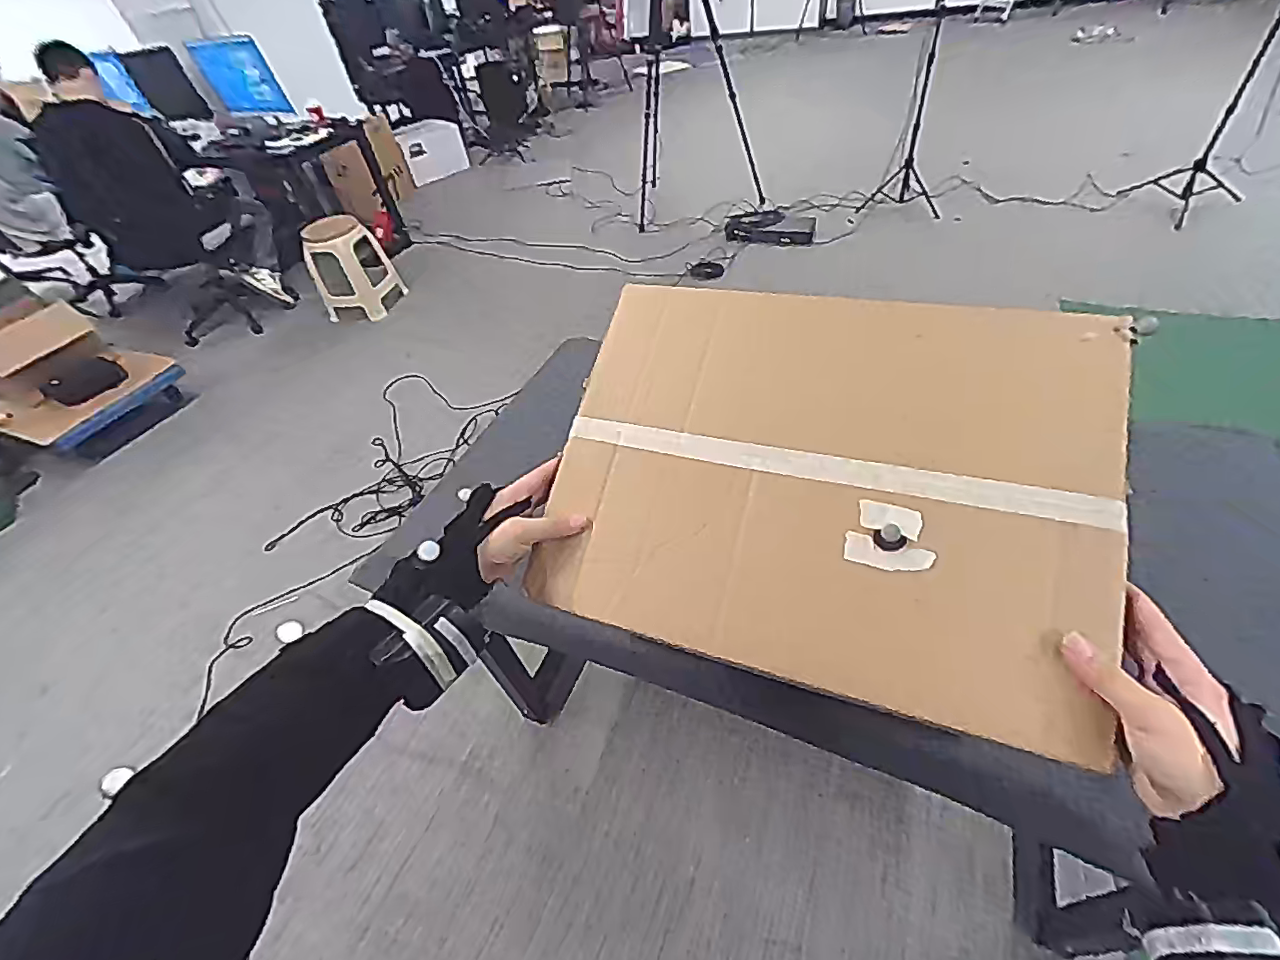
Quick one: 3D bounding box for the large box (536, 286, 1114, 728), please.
[{"bbox_3d":[0.170,0.030,0.565,0.408,0.320,0.320,11,74,19],"label":"large box"}]
